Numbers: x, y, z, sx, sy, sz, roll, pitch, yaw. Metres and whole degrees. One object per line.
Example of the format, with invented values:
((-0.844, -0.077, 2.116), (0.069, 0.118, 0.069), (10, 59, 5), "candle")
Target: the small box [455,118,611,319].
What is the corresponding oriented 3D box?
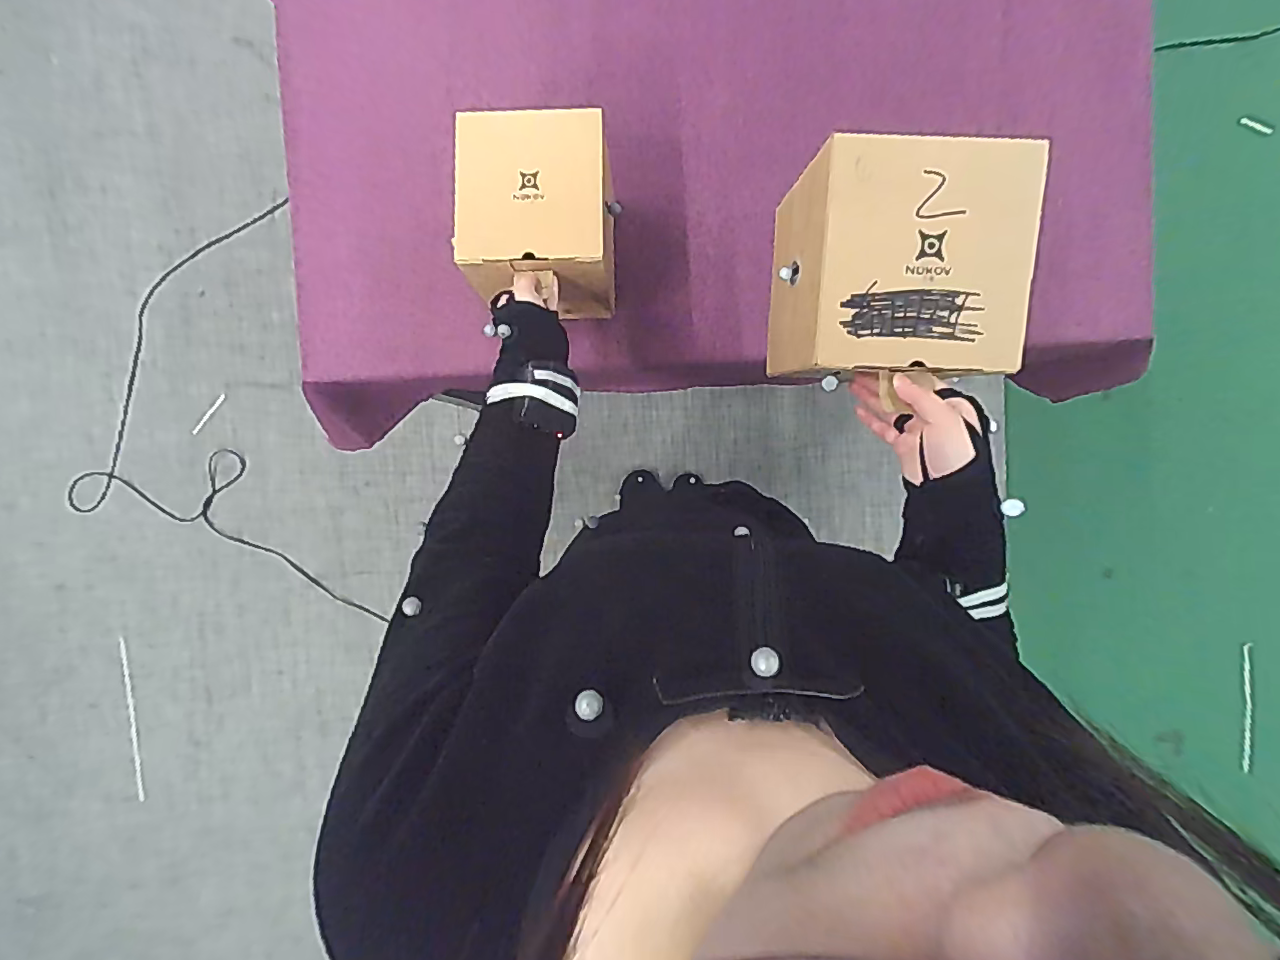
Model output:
((-0.125, -0.321, 0.690), (0.168, 0.176, 0.179), (-1, 87, 1), "small box")
